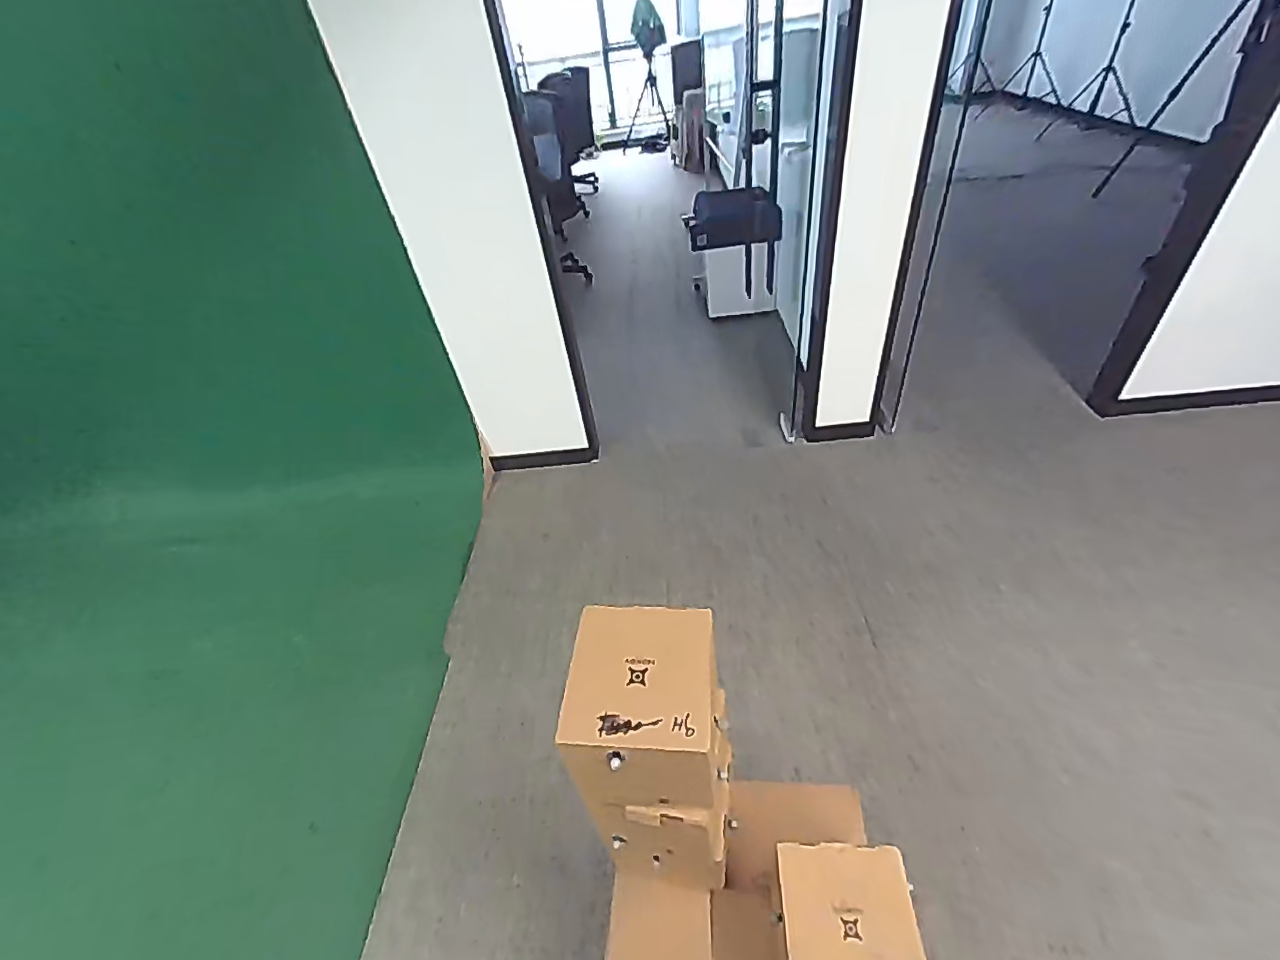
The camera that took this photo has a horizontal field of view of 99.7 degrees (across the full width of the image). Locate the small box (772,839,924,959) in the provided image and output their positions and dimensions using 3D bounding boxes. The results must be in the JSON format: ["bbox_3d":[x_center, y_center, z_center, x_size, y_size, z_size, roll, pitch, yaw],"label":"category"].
[{"bbox_3d":[0.275,0.618,0.739,0.168,0.176,0.179,-3,42,7],"label":"small box"}]

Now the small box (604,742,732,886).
[{"bbox_3d":[0.055,0.531,0.879,0.179,0.176,0.168,3,43,13],"label":"small box"}]

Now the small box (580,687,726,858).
[{"bbox_3d":[0.031,0.407,0.774,0.168,0.176,0.179,4,41,14],"label":"small box"}]

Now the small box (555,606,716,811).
[{"bbox_3d":[0.008,0.279,0.672,0.168,0.176,0.179,-1,41,10],"label":"small box"}]
